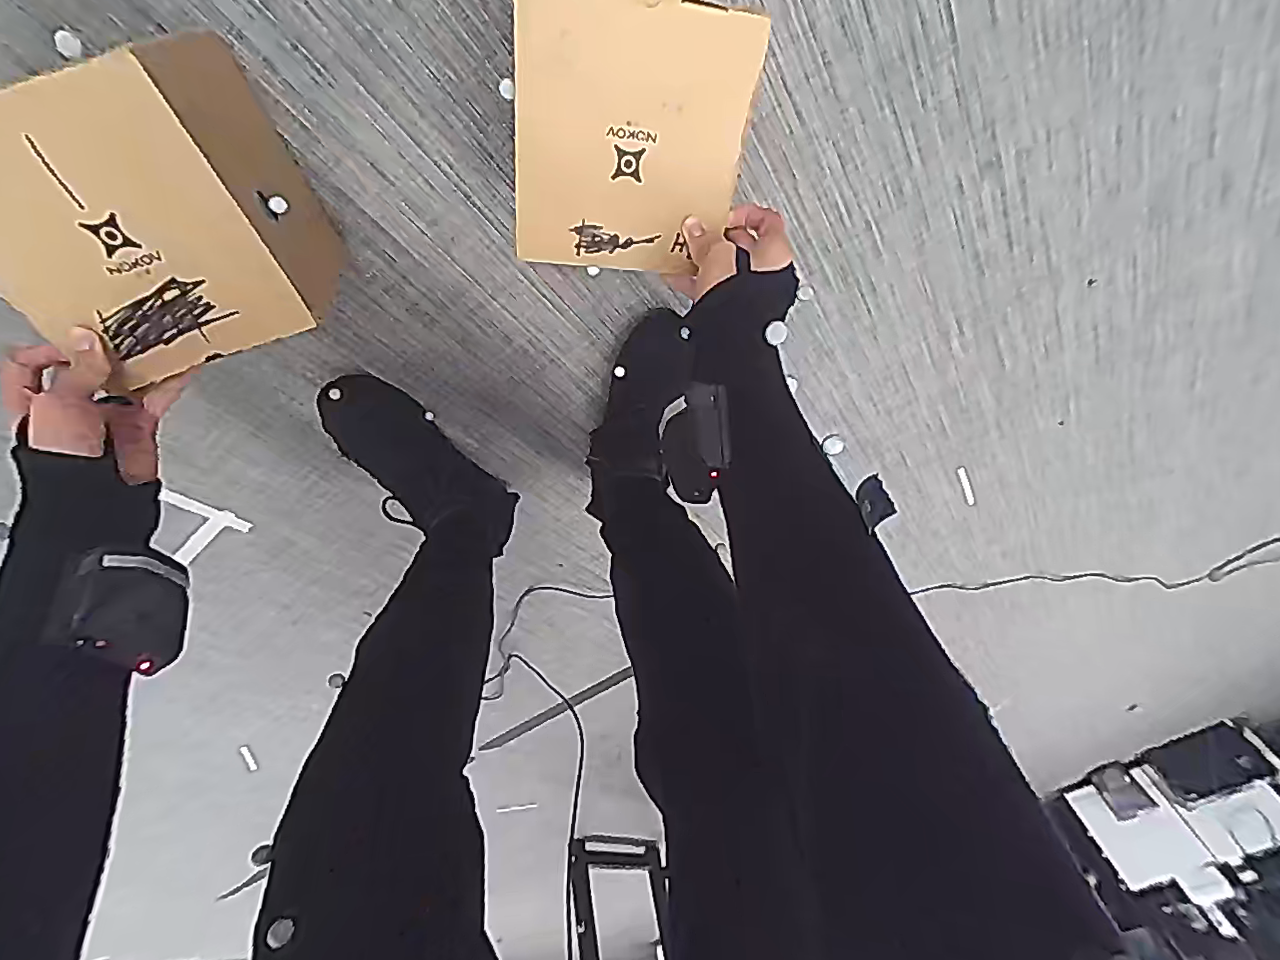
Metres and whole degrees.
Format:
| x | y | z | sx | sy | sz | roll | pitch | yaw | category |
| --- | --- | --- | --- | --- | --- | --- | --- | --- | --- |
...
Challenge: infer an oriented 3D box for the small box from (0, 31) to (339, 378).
| x | y | z | sx | sy | sz | roll | pitch | yaw | category |
| --- | --- | --- | --- | --- | --- | --- | --- | --- | --- |
| -0.365 | -0.215 | 0.421 | 0.168 | 0.176 | 0.179 | -20 | 134 | -3 | small box |

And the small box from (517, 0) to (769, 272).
| x | y | z | sx | sy | sz | roll | pitch | yaw | category |
| --- | --- | --- | --- | --- | --- | --- | --- | --- | --- |
| -0.016 | -0.298 | 0.452 | 0.168 | 0.176 | 0.179 | 2 | 131 | -11 | small box |
